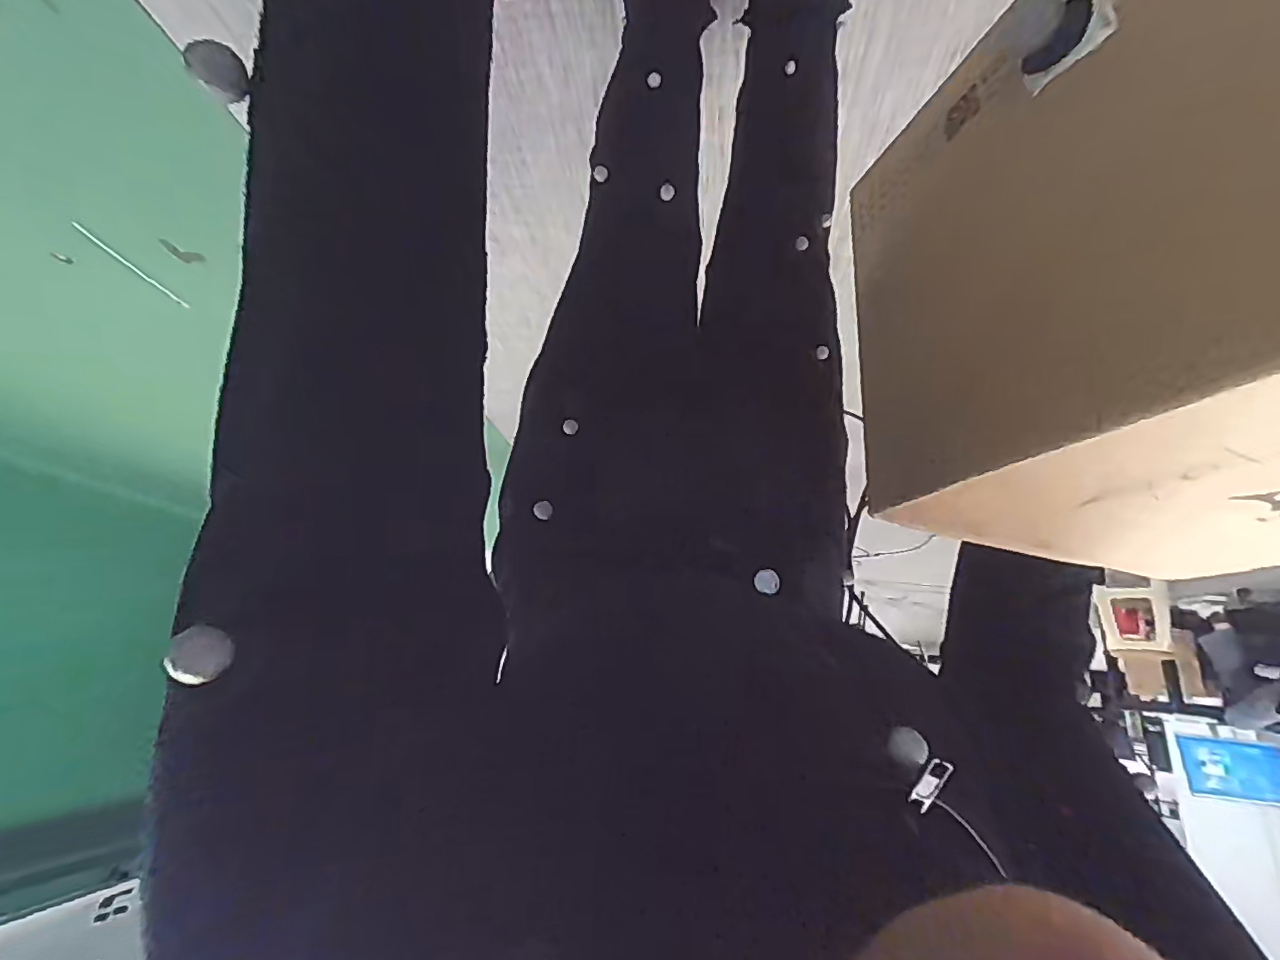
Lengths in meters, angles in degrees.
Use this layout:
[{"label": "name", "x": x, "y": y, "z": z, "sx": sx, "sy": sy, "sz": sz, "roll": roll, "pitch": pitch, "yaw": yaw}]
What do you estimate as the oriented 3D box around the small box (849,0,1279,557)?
[{"label": "small box", "x": 0.198, "y": -0.081, "z": 0.188, "sx": 0.179, "sy": 0.176, "sz": 0.168, "roll": 12, "pitch": 158, "yaw": -15}]
